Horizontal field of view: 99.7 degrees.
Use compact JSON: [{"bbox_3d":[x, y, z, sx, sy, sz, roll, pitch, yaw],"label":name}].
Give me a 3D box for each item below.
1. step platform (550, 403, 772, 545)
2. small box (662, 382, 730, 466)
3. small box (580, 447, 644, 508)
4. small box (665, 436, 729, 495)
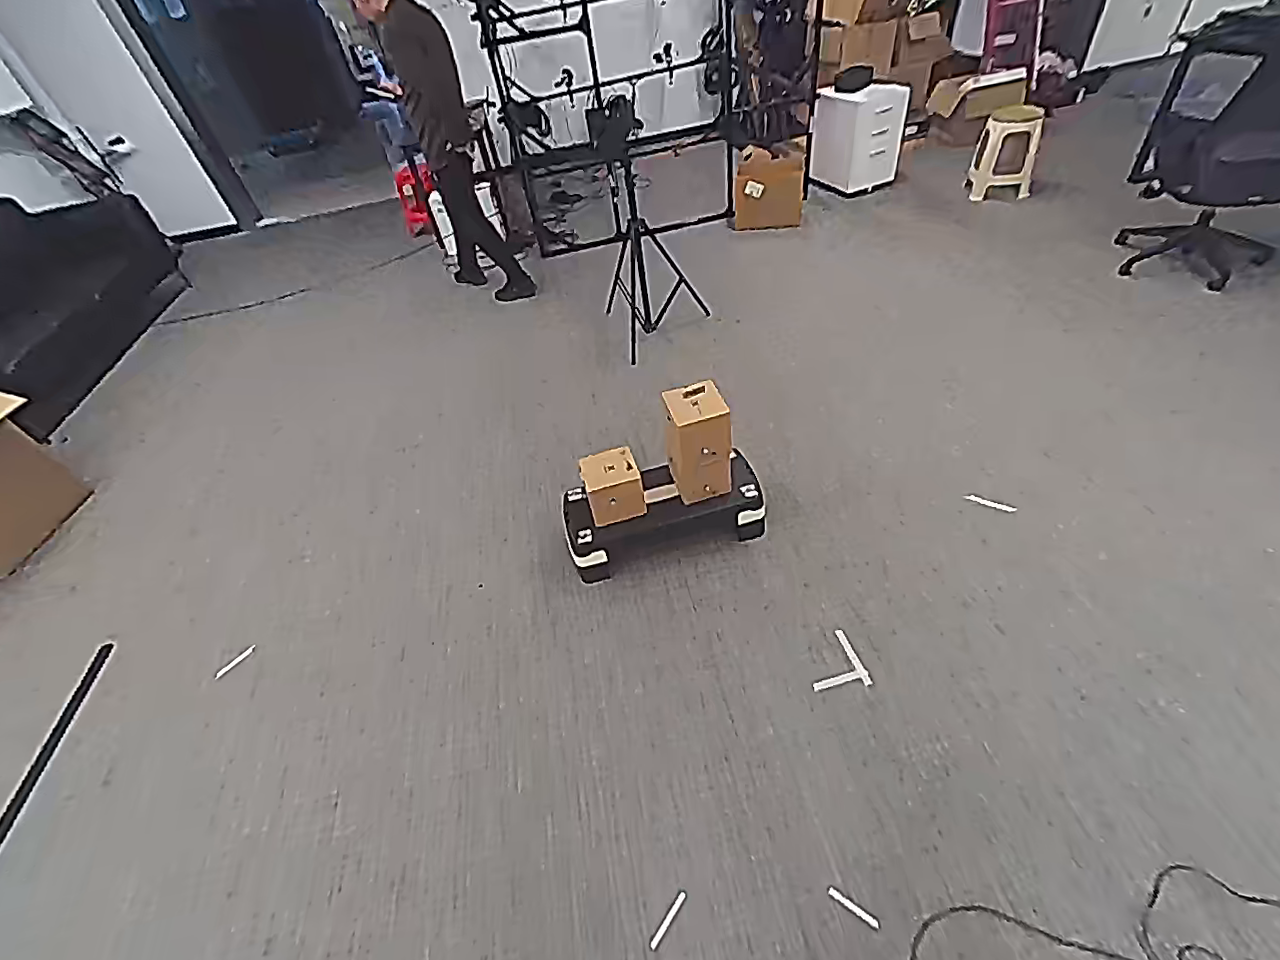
[{"bbox_3d":[0.067,-0.019,1.737,0.684,0.204,0.286,-15,44,-5],"label":"step platform"},{"bbox_3d":[0.174,-0.173,1.686,0.168,0.176,0.179,-16,45,-4],"label":"small box"},{"bbox_3d":[-0.090,0.024,1.776,0.179,0.176,0.168,-16,45,-5],"label":"small box"},{"bbox_3d":[0.189,-0.053,1.797,0.168,0.176,0.179,-16,45,-4],"label":"small box"}]
